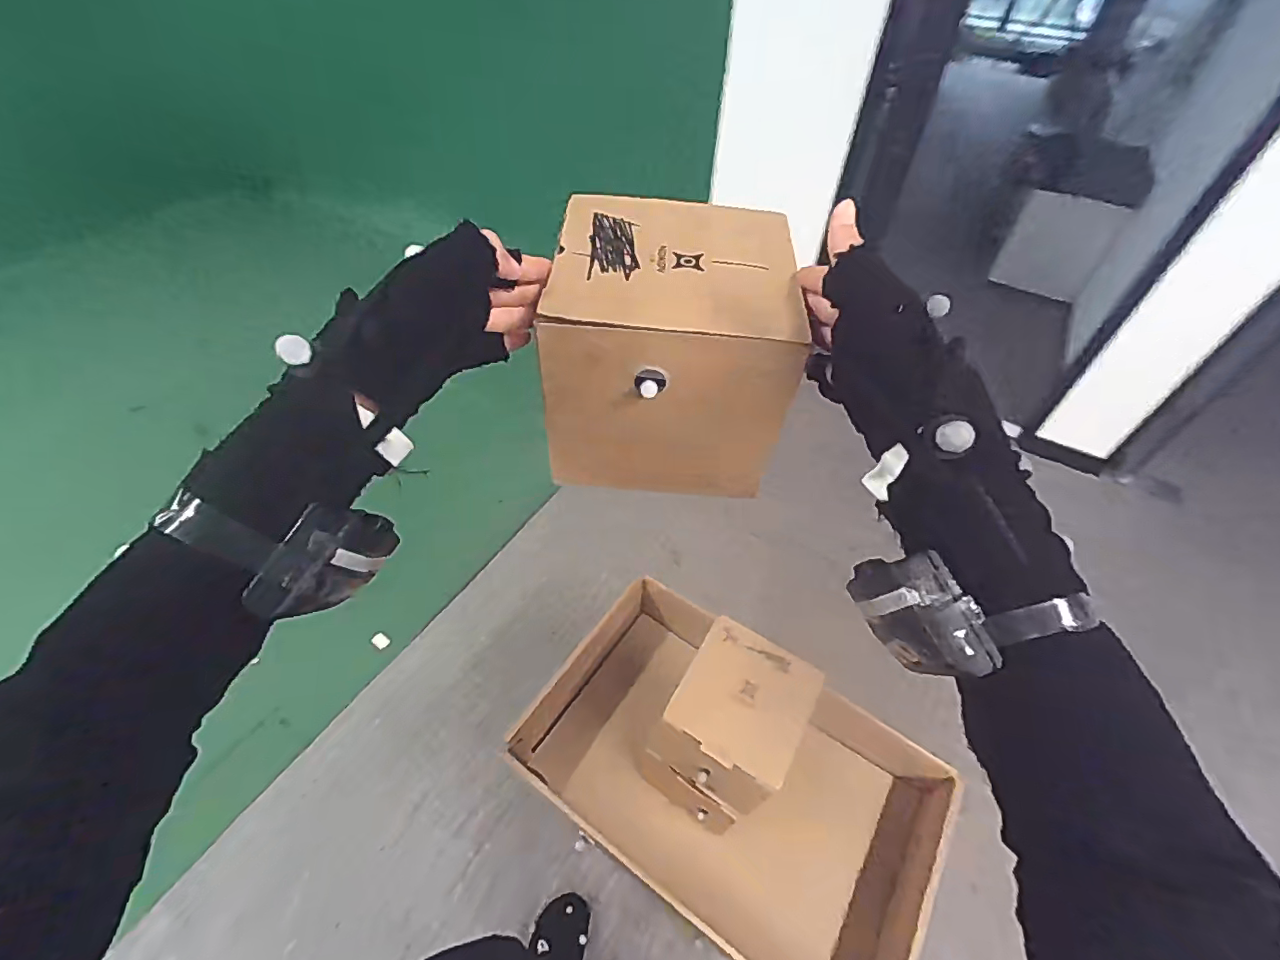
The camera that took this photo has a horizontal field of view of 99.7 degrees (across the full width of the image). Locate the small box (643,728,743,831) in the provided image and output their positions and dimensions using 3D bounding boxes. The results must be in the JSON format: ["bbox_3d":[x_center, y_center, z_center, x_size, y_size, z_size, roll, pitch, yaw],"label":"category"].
[{"bbox_3d":[0.116,0.444,0.901,0.168,0.176,0.179,30,52,18],"label":"small box"}]

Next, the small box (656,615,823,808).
[{"bbox_3d":[0.134,0.336,0.779,0.168,0.176,0.179,28,54,17],"label":"small box"}]

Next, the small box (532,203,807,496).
[{"bbox_3d":[0.019,-0.102,0.446,0.179,0.176,0.168,5,52,-1],"label":"small box"}]
